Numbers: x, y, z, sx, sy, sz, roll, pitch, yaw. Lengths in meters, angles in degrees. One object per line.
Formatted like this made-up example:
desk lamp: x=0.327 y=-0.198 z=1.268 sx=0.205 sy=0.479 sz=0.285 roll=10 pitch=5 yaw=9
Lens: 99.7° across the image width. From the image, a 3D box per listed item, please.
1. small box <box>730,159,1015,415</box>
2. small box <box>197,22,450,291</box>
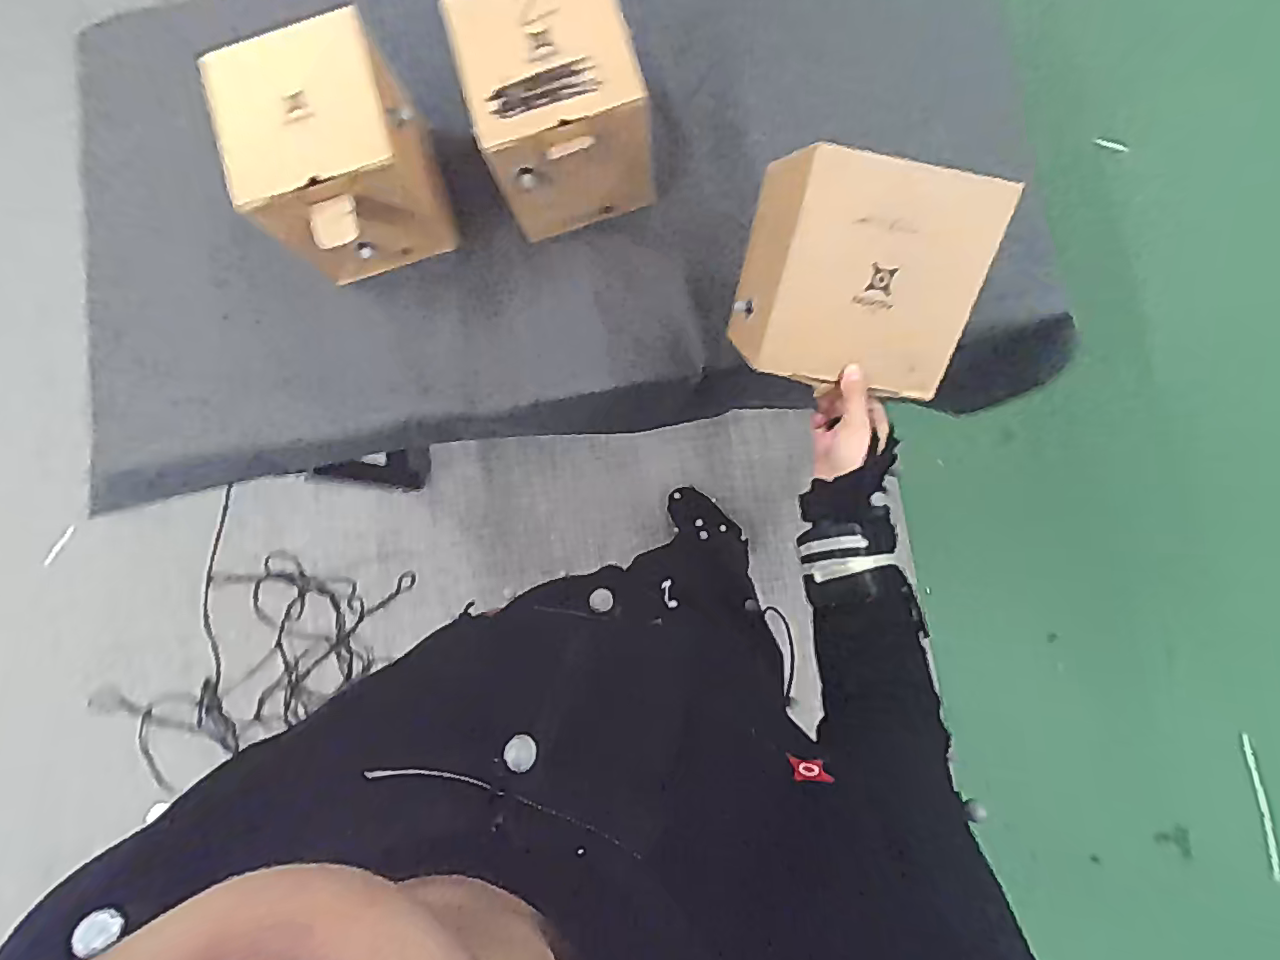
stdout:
small box: x=0.192 y=-0.182 z=0.513 sx=0.168 sy=0.176 sz=0.179 roll=8 pitch=115 yaw=-6
small box: x=-0.343 y=-0.349 z=0.616 sx=0.168 sy=0.176 sz=0.179 roll=-18 pitch=84 yaw=1
